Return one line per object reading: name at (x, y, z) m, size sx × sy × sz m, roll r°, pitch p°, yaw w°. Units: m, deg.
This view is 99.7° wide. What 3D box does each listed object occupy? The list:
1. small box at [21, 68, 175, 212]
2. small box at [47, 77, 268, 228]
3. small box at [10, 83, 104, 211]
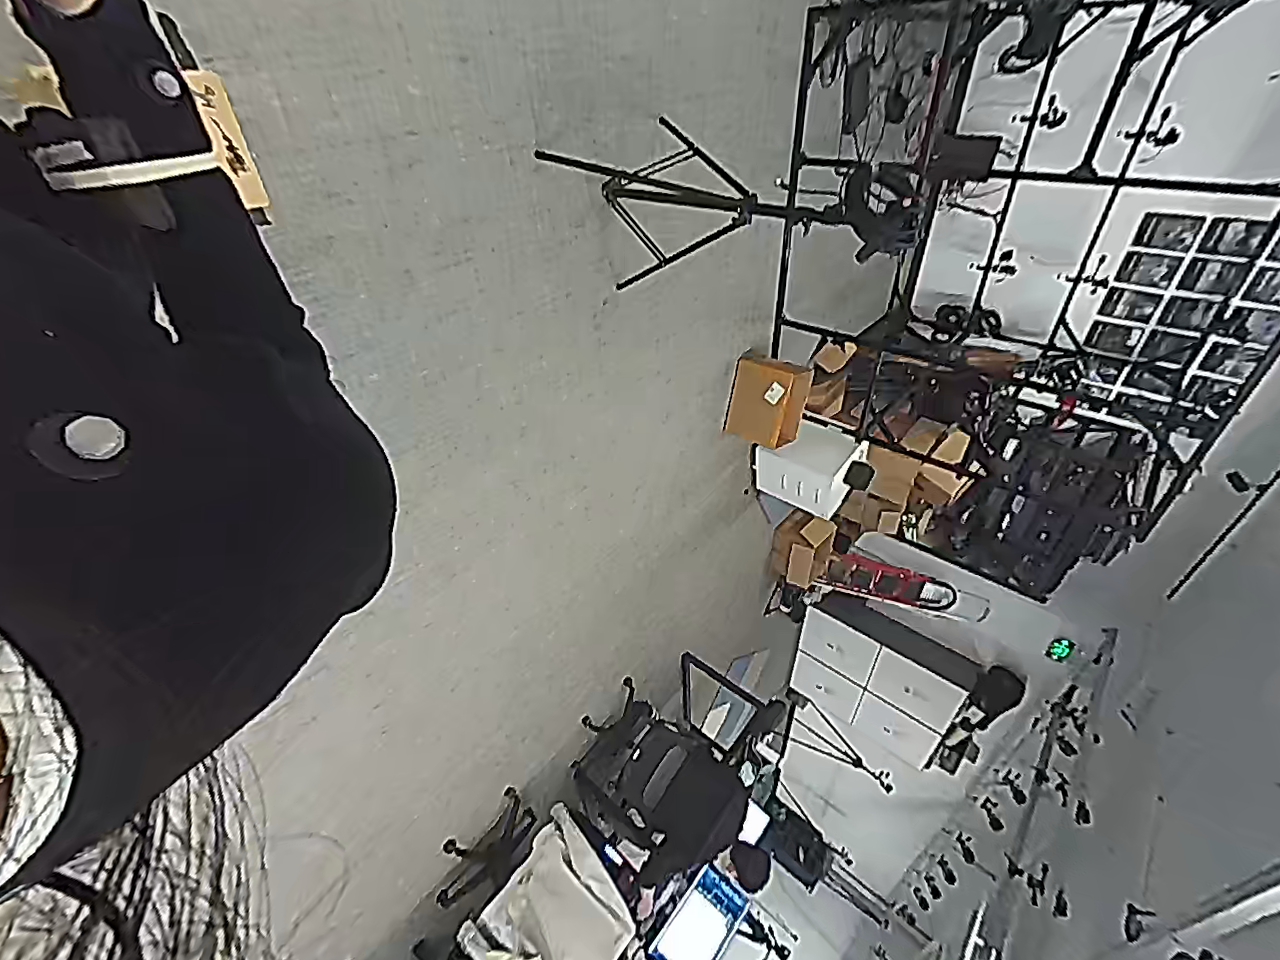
small box at (-0.808, -0.533, 0.850) m, size 0.168 × 0.176 × 0.179 m, roll -34°, pitch 136°, yaw -36°
small box at (-0.682, -0.467, 0.769) m, size 0.179 × 0.176 × 0.168 m, roll -34°, pitch 137°, yaw -36°
small box at (-0.929, -0.590, 0.946) m, size 0.168 × 0.176 × 0.179 m, roll -36°, pitch 138°, yaw -35°
